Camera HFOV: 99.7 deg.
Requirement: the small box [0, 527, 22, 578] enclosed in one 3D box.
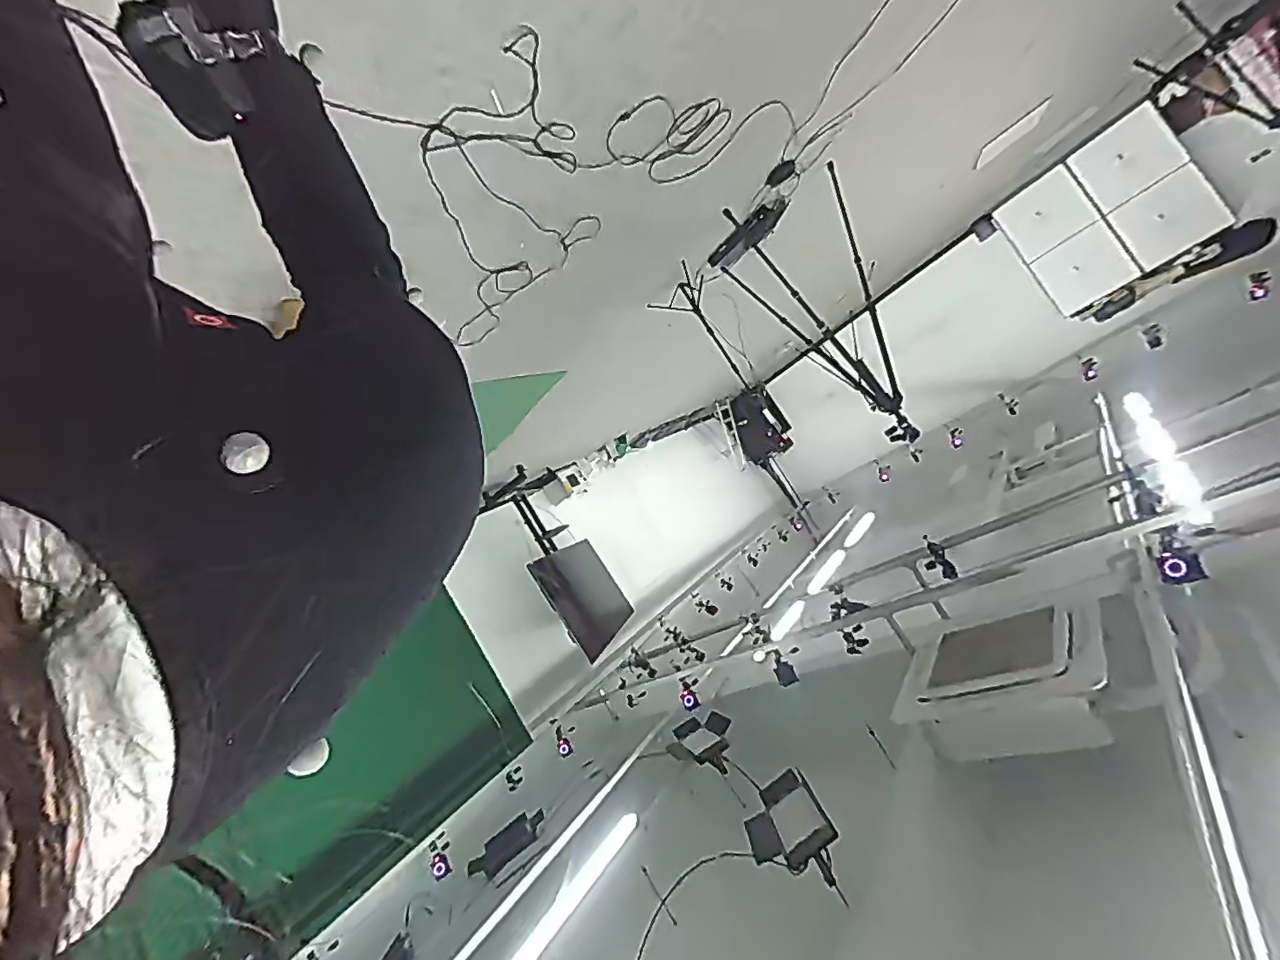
[{"bbox_3d":[-2.429,0.273,1.971,0.168,0.176,0.179,-36,175,43],"label":"small box"}]
